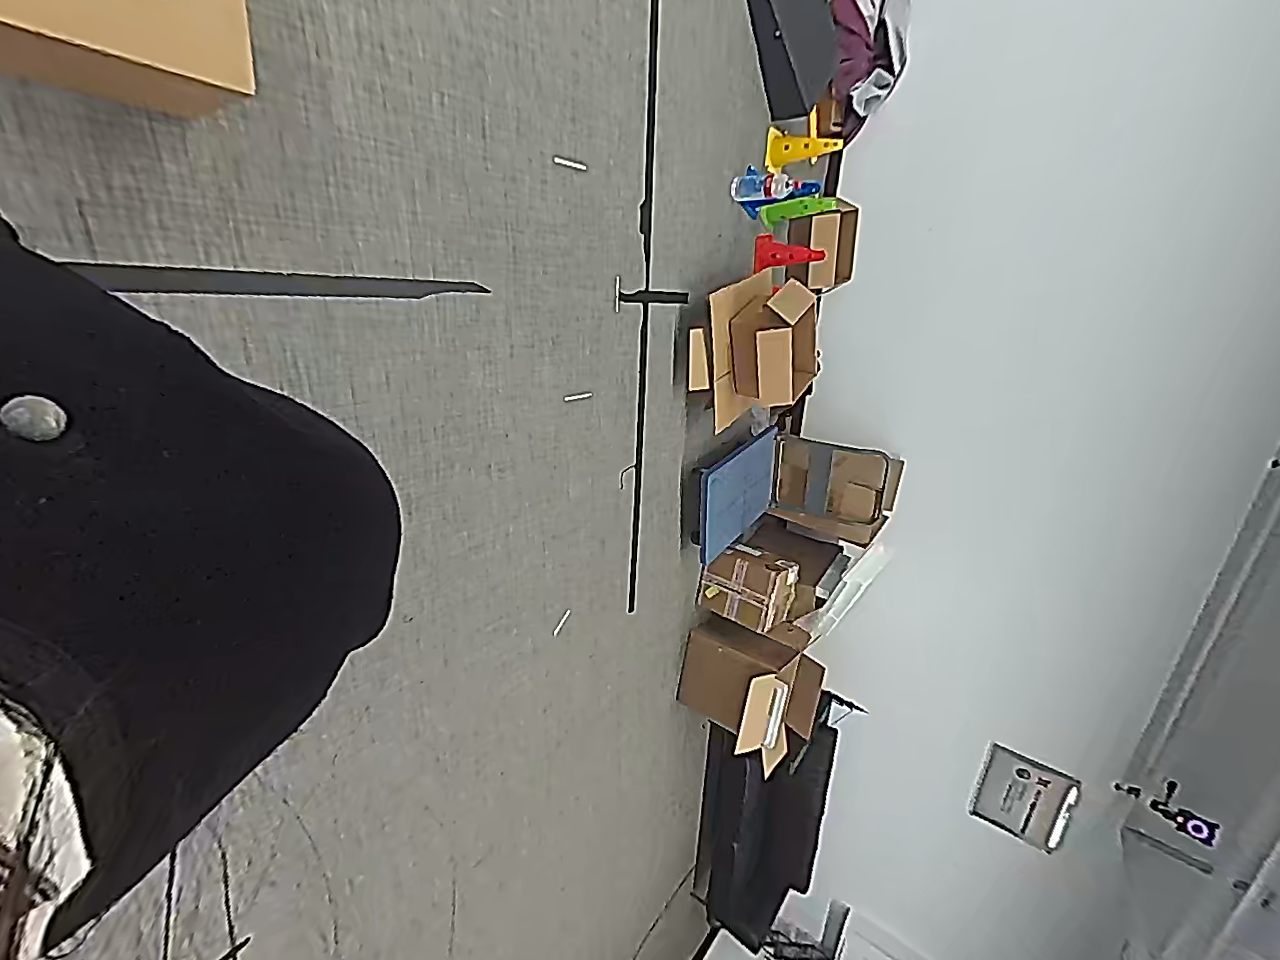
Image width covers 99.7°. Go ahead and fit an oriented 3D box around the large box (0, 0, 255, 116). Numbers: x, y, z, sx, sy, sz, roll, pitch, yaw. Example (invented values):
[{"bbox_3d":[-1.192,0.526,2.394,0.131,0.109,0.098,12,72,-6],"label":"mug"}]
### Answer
[{"bbox_3d":[-0.871,-0.780,0.784,0.408,0.320,0.320,-20,120,-51],"label":"large box"}]
